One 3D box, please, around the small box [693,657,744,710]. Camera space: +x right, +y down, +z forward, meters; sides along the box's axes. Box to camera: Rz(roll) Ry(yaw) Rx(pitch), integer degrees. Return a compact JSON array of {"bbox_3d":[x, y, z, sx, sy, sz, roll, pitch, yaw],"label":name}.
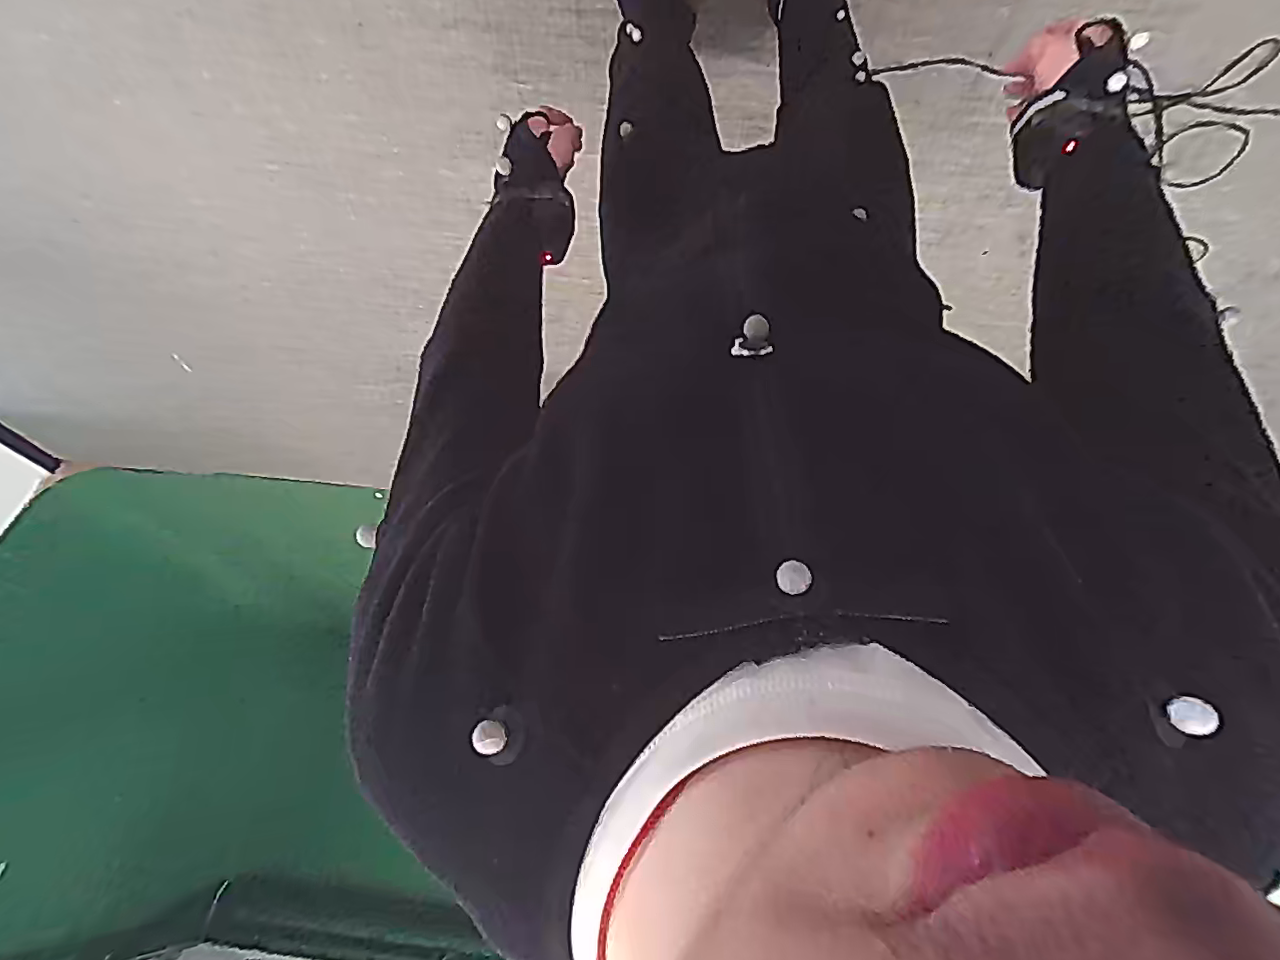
[{"bbox_3d":[0.321,0.827,2.204,0.179,0.176,0.168,8,150,0],"label":"small box"}]
